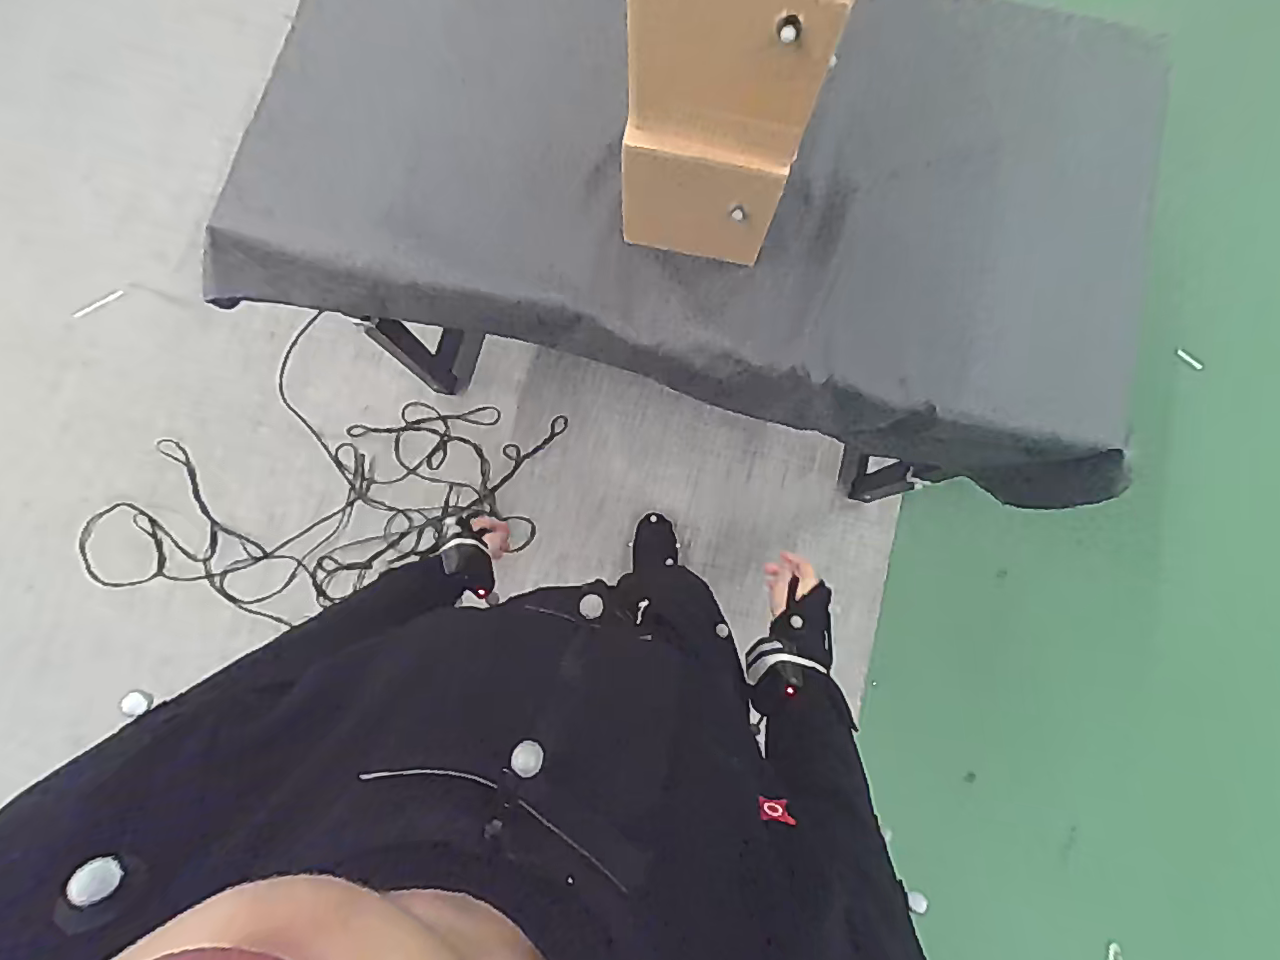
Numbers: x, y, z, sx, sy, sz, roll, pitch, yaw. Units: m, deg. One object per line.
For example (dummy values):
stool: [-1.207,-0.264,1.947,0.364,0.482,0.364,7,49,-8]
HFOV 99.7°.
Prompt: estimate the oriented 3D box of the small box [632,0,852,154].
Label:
small box: [0.093,-0.433,0.484,0.179,0.176,0.168,14,81,1]
